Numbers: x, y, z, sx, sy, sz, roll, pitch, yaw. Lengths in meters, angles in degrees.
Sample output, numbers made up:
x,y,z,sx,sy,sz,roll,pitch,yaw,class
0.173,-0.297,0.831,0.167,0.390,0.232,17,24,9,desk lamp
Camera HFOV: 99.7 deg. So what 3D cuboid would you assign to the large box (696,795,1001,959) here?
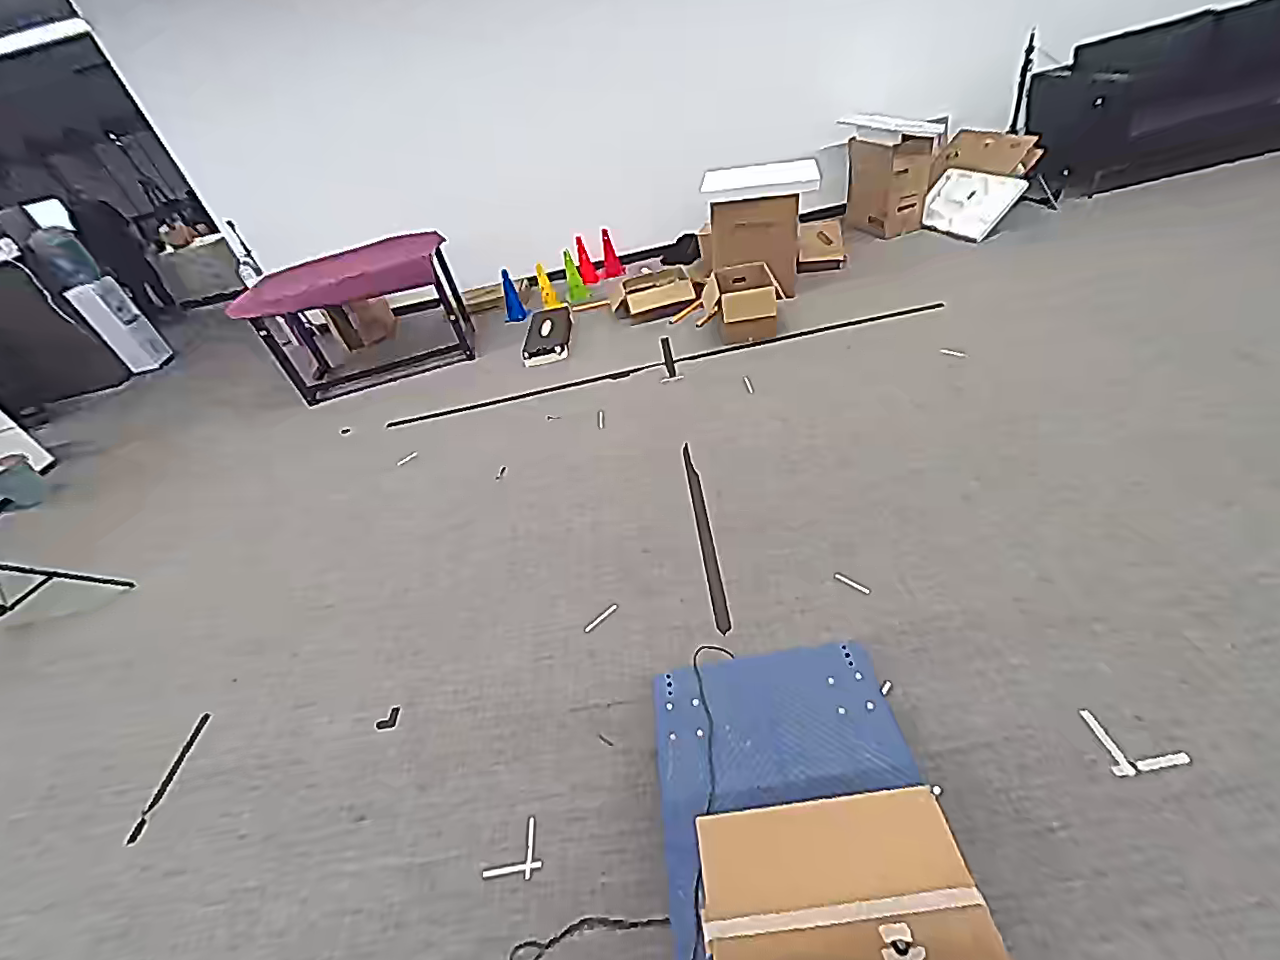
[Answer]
x,y,z,sx,sy,sz,roll,pitch,yaw,class
0.324,0.774,0.892,0.408,0.320,0.320,-10,39,4,large box
